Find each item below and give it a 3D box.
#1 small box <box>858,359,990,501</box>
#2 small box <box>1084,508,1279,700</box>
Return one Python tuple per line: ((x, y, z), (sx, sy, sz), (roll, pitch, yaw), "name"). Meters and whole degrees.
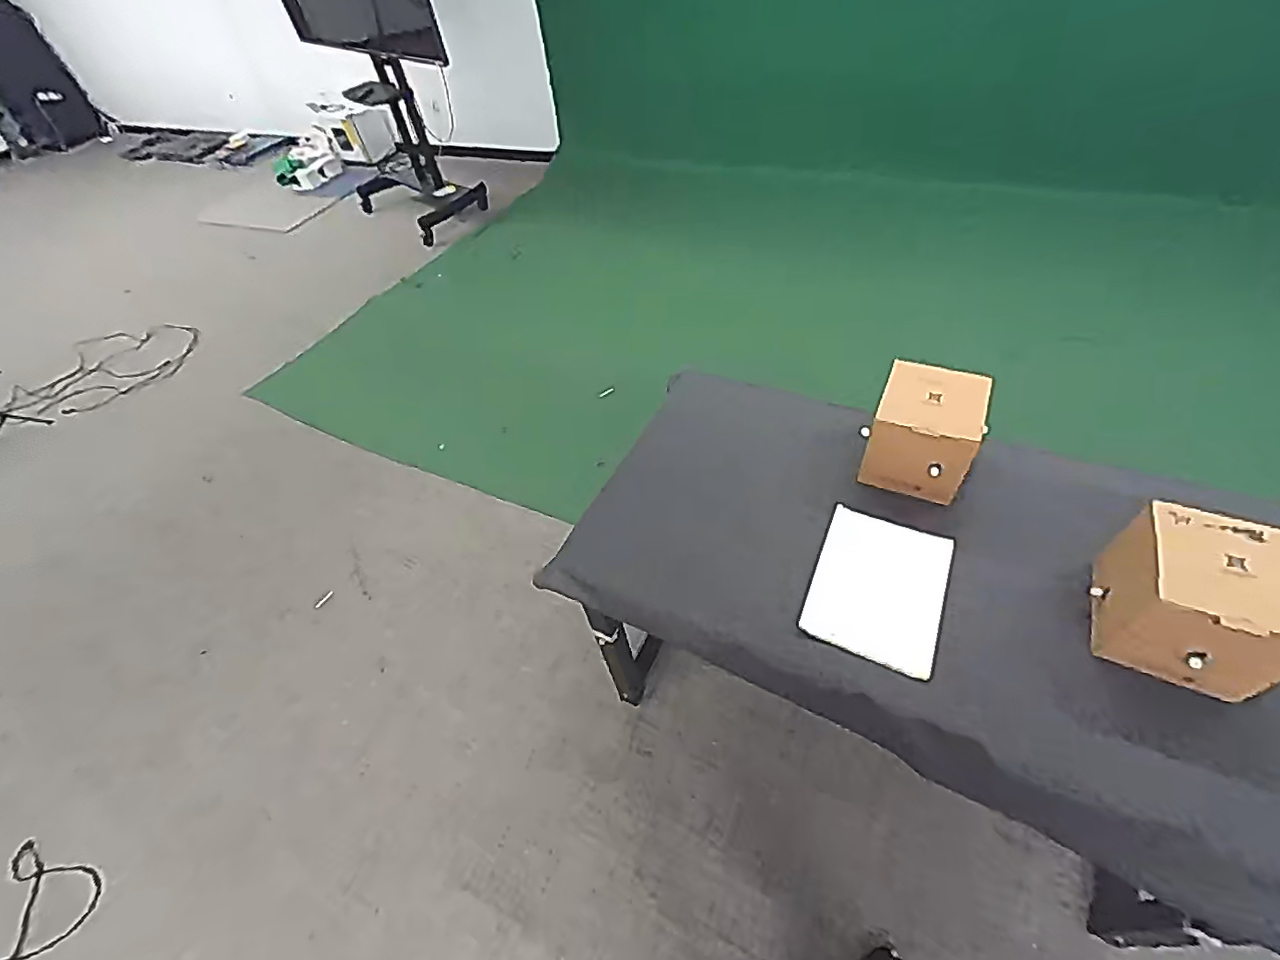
((0.513, -0.090, 0.993), (0.168, 0.176, 0.179), (18, 53, 20), "small box")
((0.755, 0.175, 0.751), (0.168, 0.176, 0.179), (19, 55, 22), "small box")
